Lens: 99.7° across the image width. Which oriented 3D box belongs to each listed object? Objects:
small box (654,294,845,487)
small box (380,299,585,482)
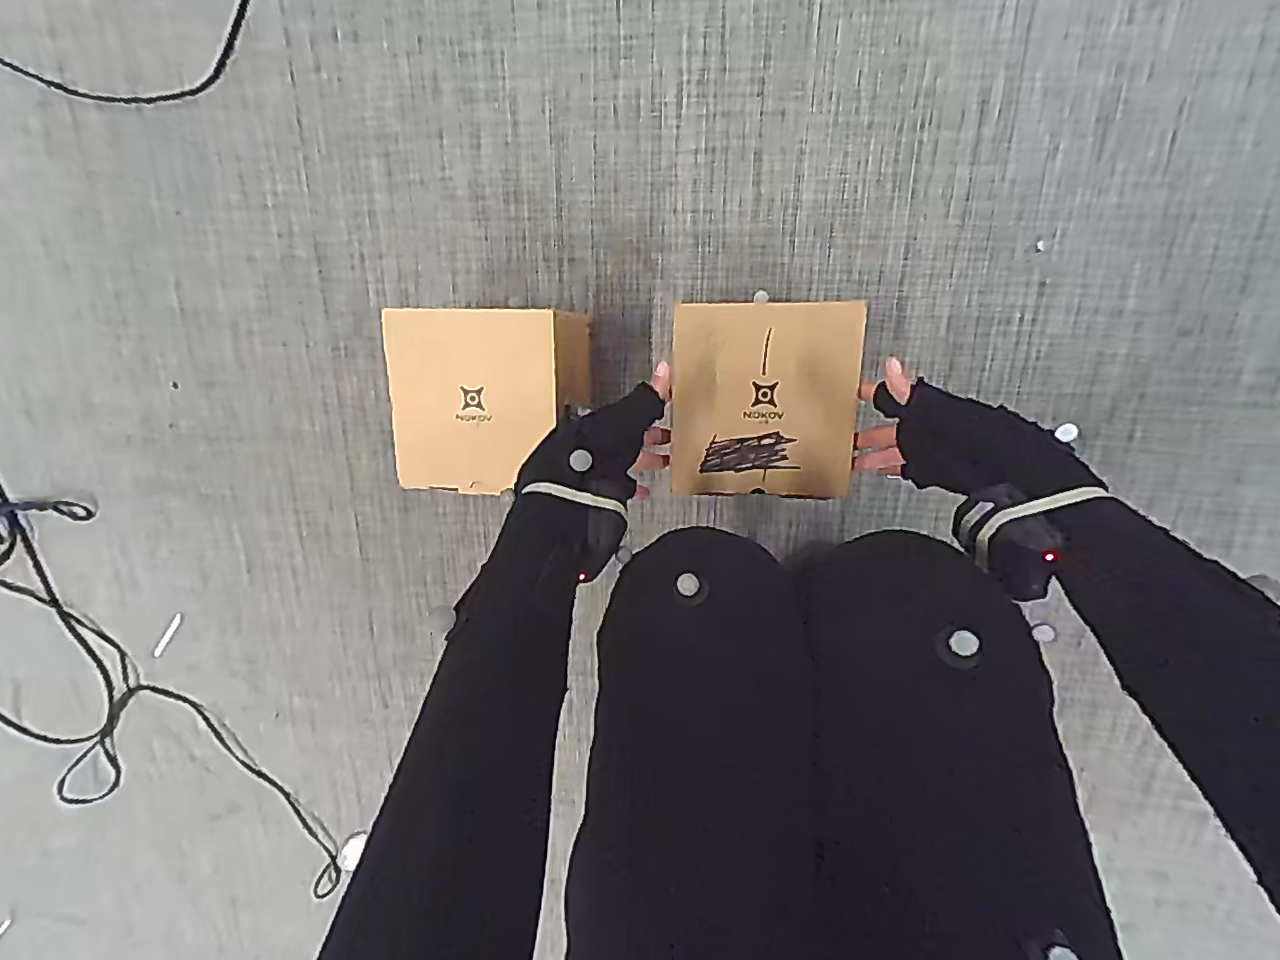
[{"bbox_3d":[0.105,-0.100,0.572,0.168,0.176,0.179,2,105,6],"label":"small box"},{"bbox_3d":[-0.159,-0.104,0.602,0.168,0.176,0.179,2,106,6],"label":"small box"}]
